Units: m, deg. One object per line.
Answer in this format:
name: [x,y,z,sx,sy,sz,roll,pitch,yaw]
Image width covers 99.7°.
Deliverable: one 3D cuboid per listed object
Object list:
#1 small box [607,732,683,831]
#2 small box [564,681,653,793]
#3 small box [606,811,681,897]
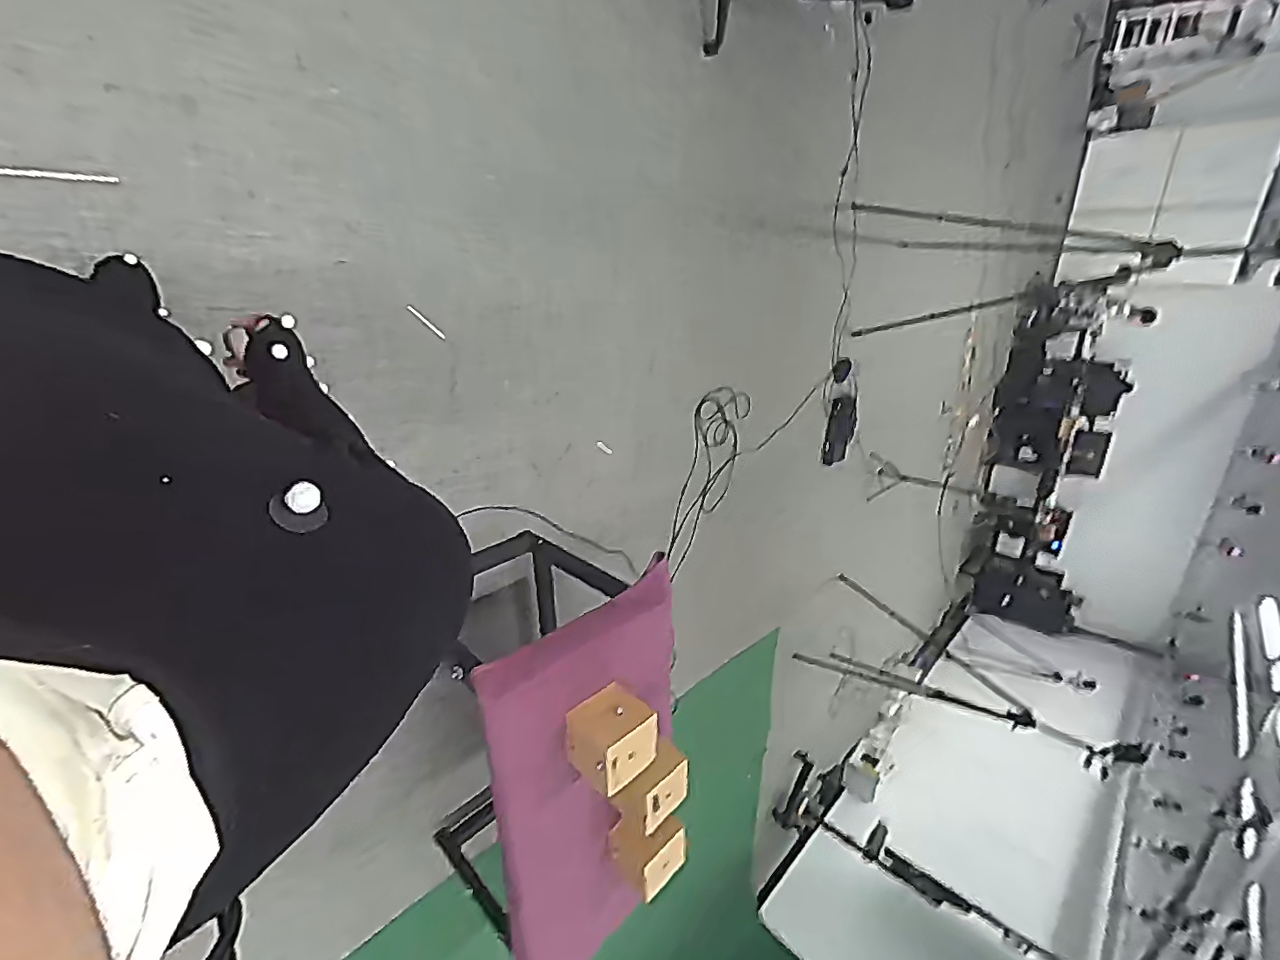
small box: [0.011,0.889,1.625,0.179,0.176,0.168,-21,119,-42]
small box: [-0.084,0.675,1.444,0.179,0.176,0.168,-19,118,-42]
small box: [0.013,1.155,1.726,0.179,0.176,0.168,-21,118,-40]
